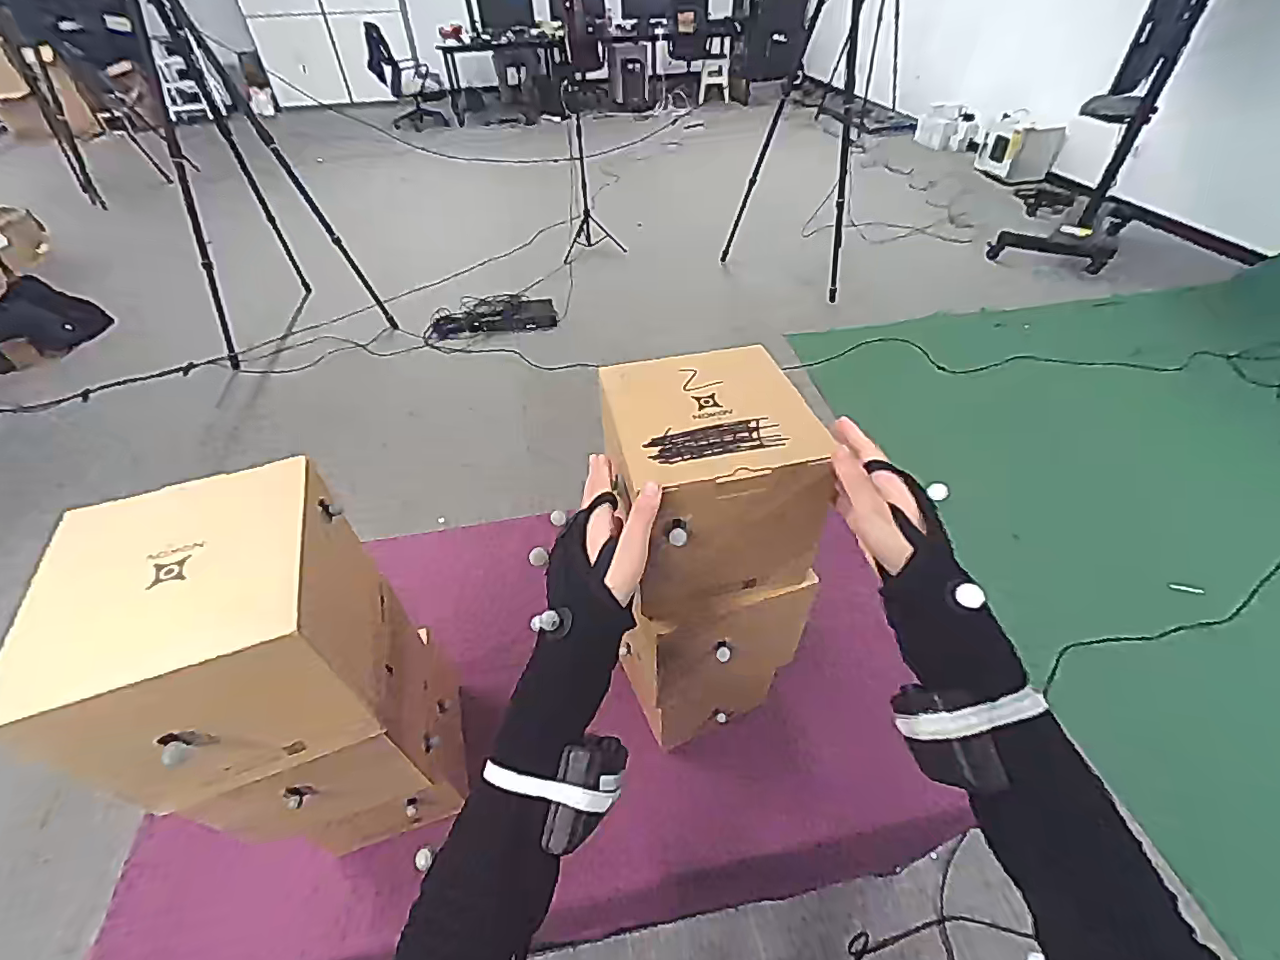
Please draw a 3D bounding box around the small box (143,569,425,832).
[{"bbox_3d":[-0.325,0.221,0.545,0.179,0.176,0.168,-14,46,-11],"label":"small box"}]

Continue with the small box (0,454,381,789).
[{"bbox_3d":[-0.317,0.113,0.423,0.168,0.176,0.179,-16,46,-15],"label":"small box"}]

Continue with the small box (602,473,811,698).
[{"bbox_3d":[0.067,0.123,0.622,0.179,0.176,0.168,-15,47,-12],"label":"small box"}]

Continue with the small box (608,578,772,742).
[{"bbox_3d":[0.064,0.225,0.752,0.168,0.176,0.179,-18,47,-15],"label":"small box"}]

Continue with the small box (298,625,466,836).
[{"bbox_3d":[-0.324,0.318,0.679,0.168,0.176,0.179,-13,46,-12],"label":"small box"}]
